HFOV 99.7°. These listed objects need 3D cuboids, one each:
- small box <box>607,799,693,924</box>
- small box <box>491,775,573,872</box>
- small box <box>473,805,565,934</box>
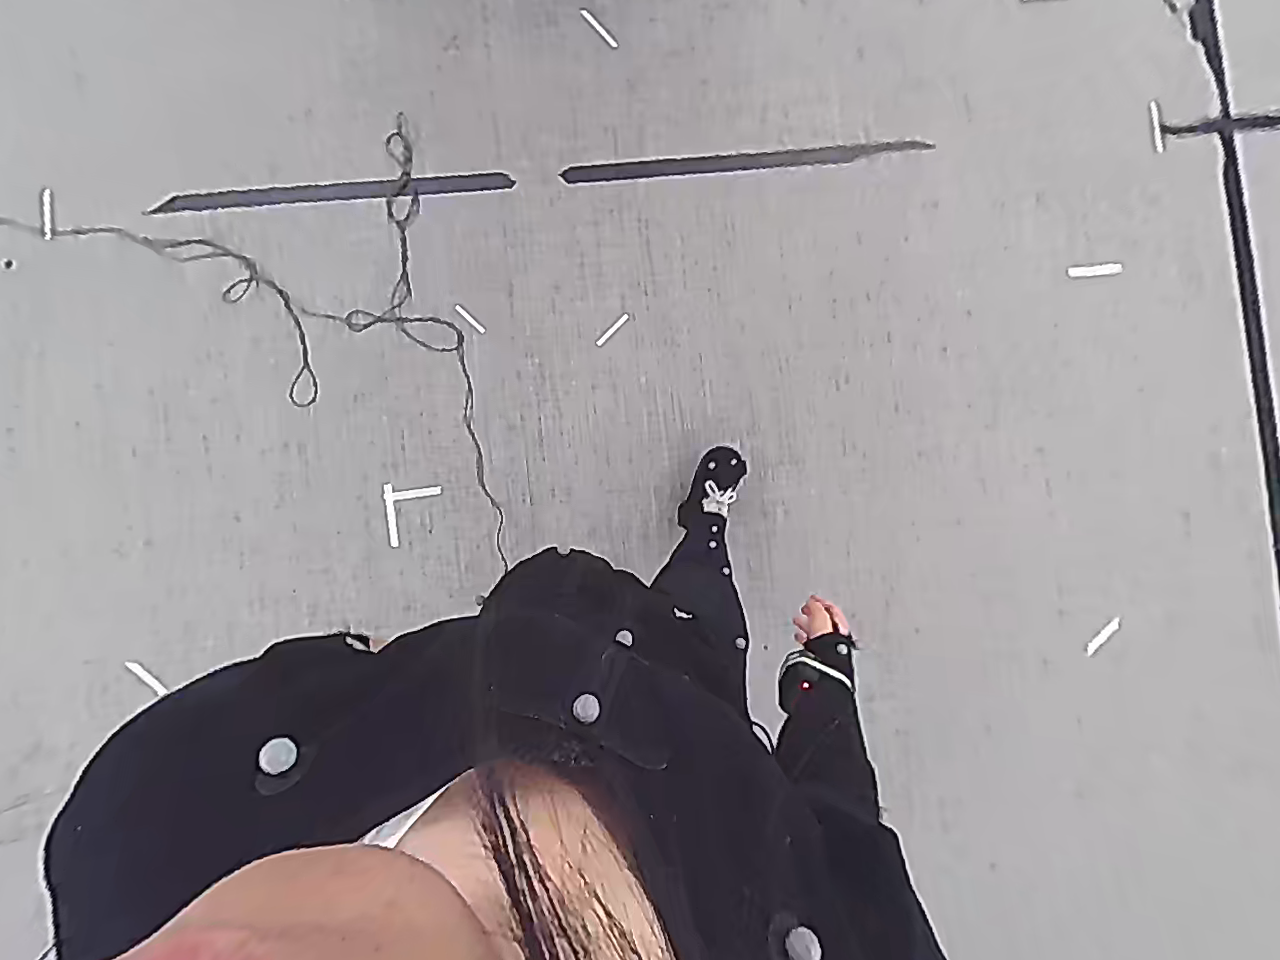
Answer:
[{"bbox_3d":[0.023,0.853,1.224,0.179,0.176,0.168,-4,89,0],"label":"small box"},{"bbox_3d":[-0.272,0.884,1.387,0.179,0.176,0.168,-5,88,-2],"label":"small box"},{"bbox_3d":[-0.267,0.867,1.225,0.168,0.176,0.179,-7,89,0],"label":"small box"}]
